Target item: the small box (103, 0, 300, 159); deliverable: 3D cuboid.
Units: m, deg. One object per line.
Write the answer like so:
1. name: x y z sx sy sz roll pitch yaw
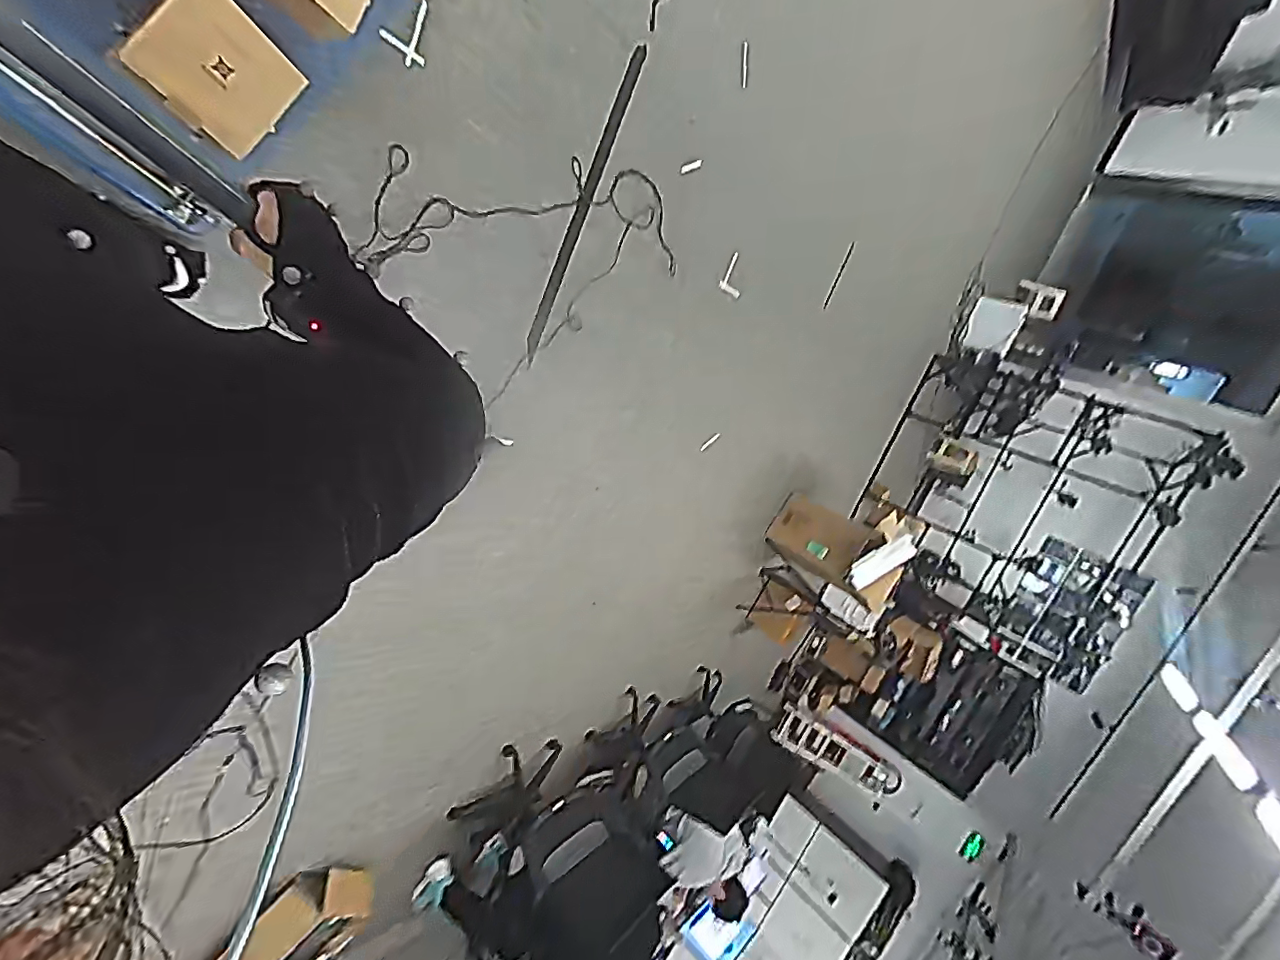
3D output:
1. small box: -0.683 -0.638 0.843 0.179 0.176 0.168 -55 145 -6

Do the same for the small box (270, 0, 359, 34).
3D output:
1. small box: -0.542 -0.854 0.856 0.168 0.176 0.179 22 97 -54
